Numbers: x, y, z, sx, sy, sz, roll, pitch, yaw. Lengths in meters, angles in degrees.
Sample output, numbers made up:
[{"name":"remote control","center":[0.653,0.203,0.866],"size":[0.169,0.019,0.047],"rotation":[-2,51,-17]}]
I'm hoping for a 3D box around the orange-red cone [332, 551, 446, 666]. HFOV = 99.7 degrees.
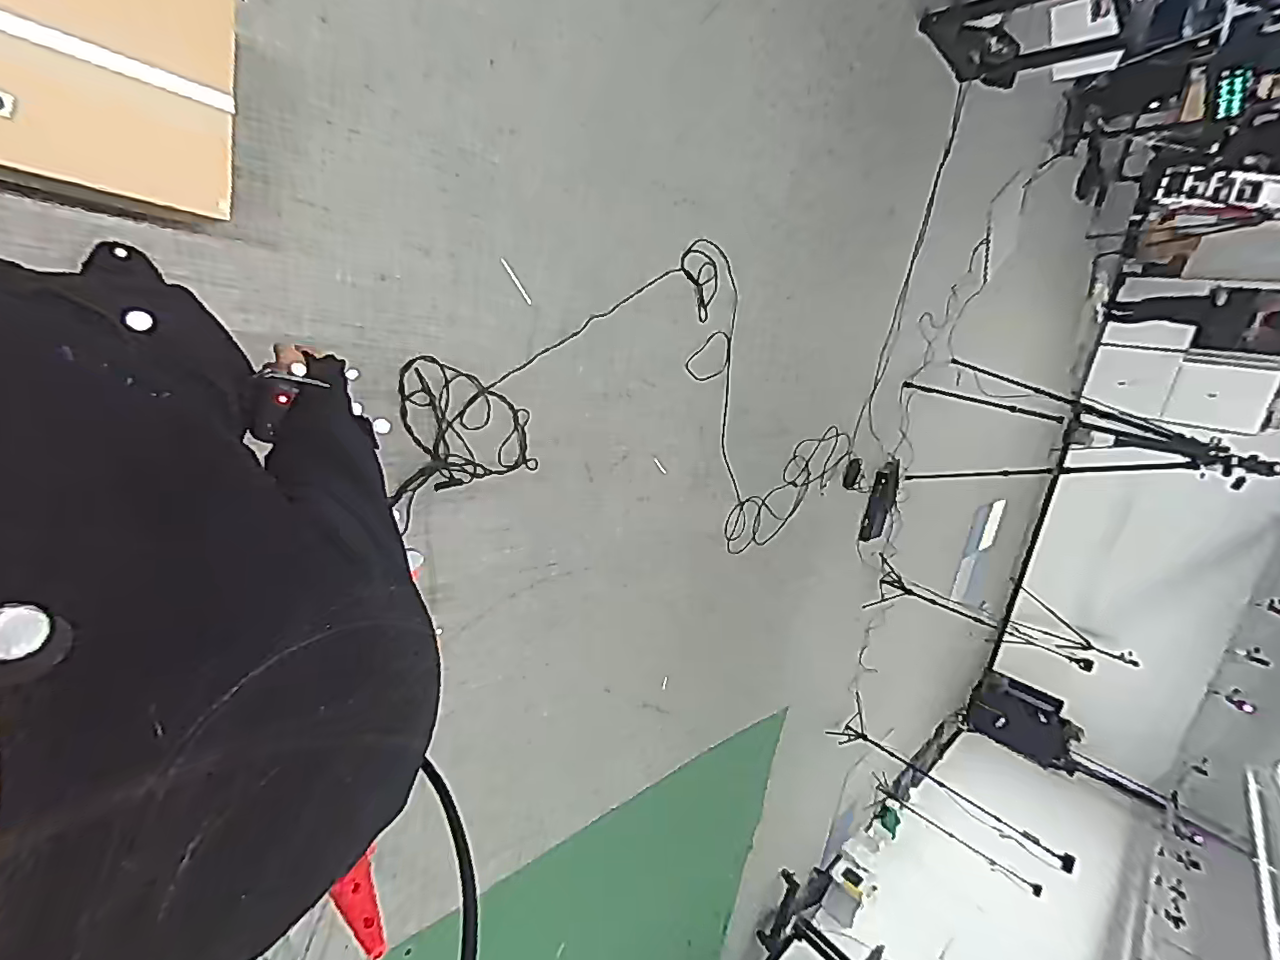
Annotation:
[{"name":"orange-red cone","center":[-0.552,0.334,1.287],"size":[0.199,0.360,0.198],"rotation":[26,88,-47]}]
